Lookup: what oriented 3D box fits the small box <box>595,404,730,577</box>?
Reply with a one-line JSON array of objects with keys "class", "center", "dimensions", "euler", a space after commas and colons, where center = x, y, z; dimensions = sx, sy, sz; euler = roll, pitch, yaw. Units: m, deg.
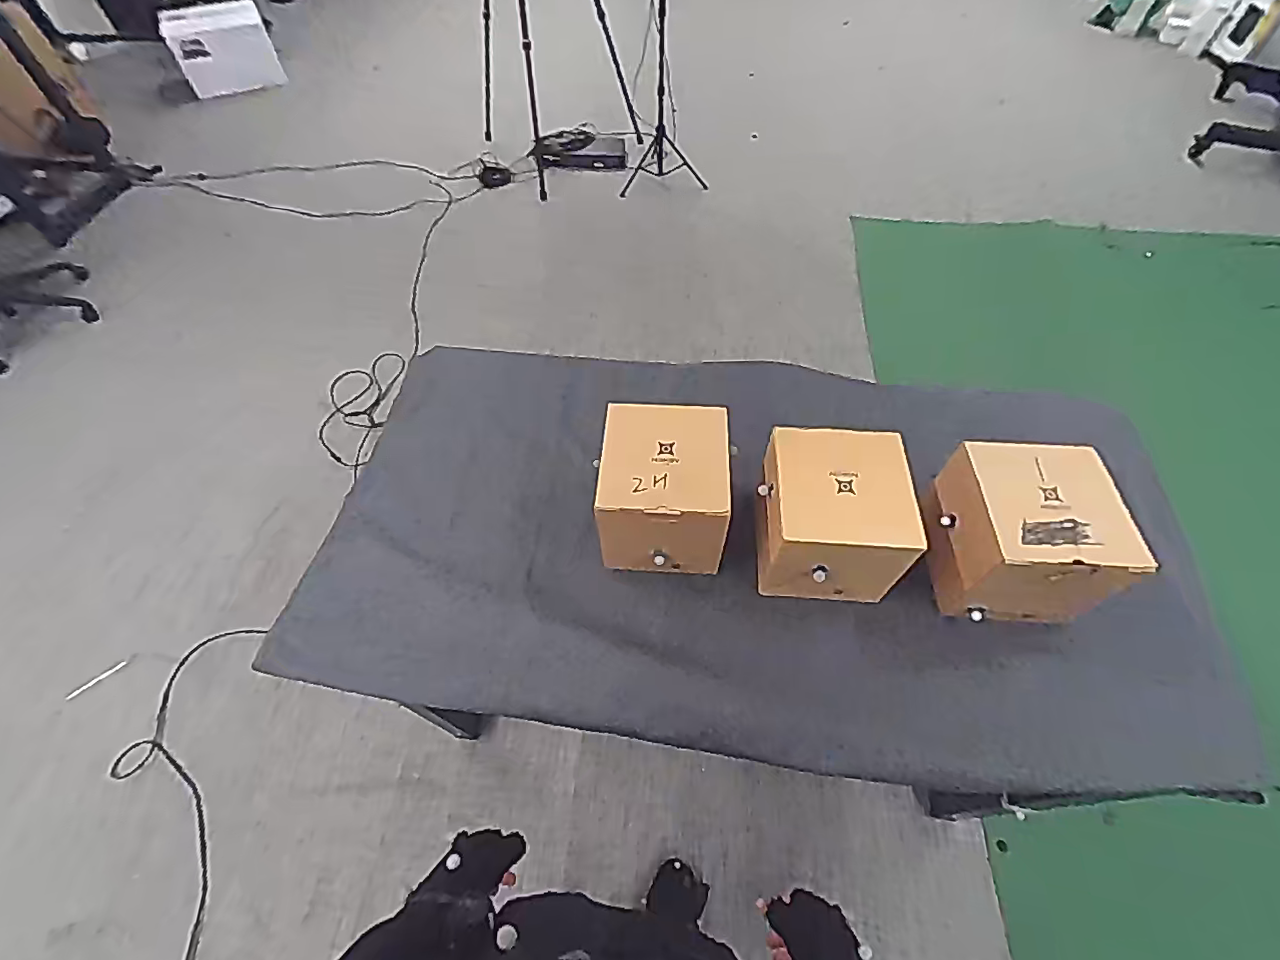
[{"class": "small box", "center": [0.032, 0.017, 0.756], "dimensions": [0.168, 0.176, 0.179], "euler": [3, 55, 3]}]

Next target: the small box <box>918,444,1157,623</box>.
[{"class": "small box", "center": [0.490, 0.074, 0.705], "dimensions": [0.168, 0.176, 0.179], "euler": [3, 54, 3]}]

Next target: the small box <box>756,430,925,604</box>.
[{"class": "small box", "center": [0.252, 0.054, 0.727], "dimensions": [0.168, 0.176, 0.179], "euler": [3, 54, 4]}]
